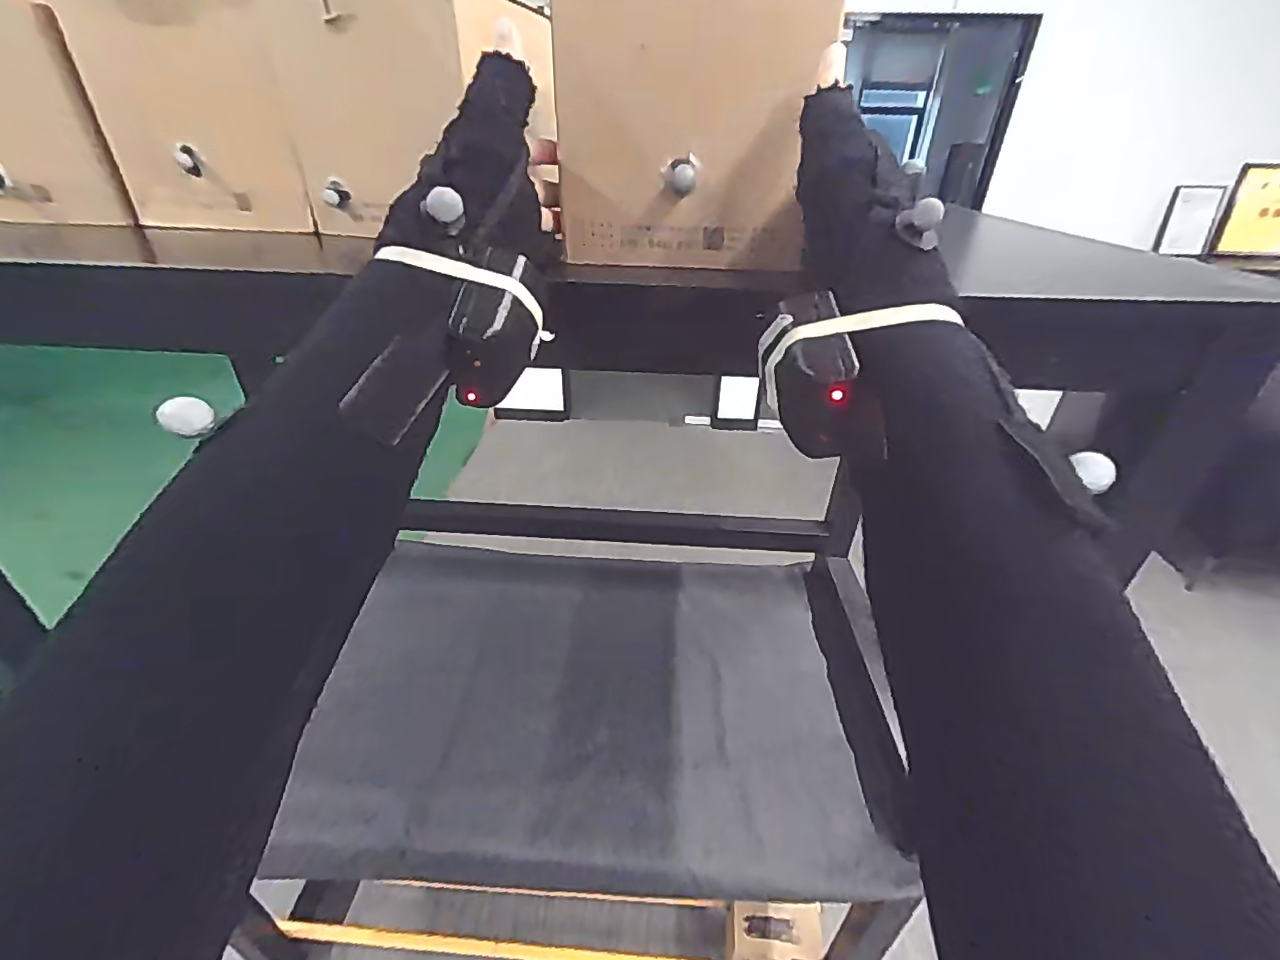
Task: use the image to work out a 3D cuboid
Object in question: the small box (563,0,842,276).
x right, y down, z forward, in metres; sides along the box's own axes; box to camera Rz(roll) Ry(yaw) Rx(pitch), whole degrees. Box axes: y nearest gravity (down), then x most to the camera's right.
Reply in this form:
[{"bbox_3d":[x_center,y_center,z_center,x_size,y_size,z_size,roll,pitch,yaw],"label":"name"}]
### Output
[{"bbox_3d":[0.040,-0.263,0.414,0.168,0.176,0.179,4,32,5],"label":"small box"}]
